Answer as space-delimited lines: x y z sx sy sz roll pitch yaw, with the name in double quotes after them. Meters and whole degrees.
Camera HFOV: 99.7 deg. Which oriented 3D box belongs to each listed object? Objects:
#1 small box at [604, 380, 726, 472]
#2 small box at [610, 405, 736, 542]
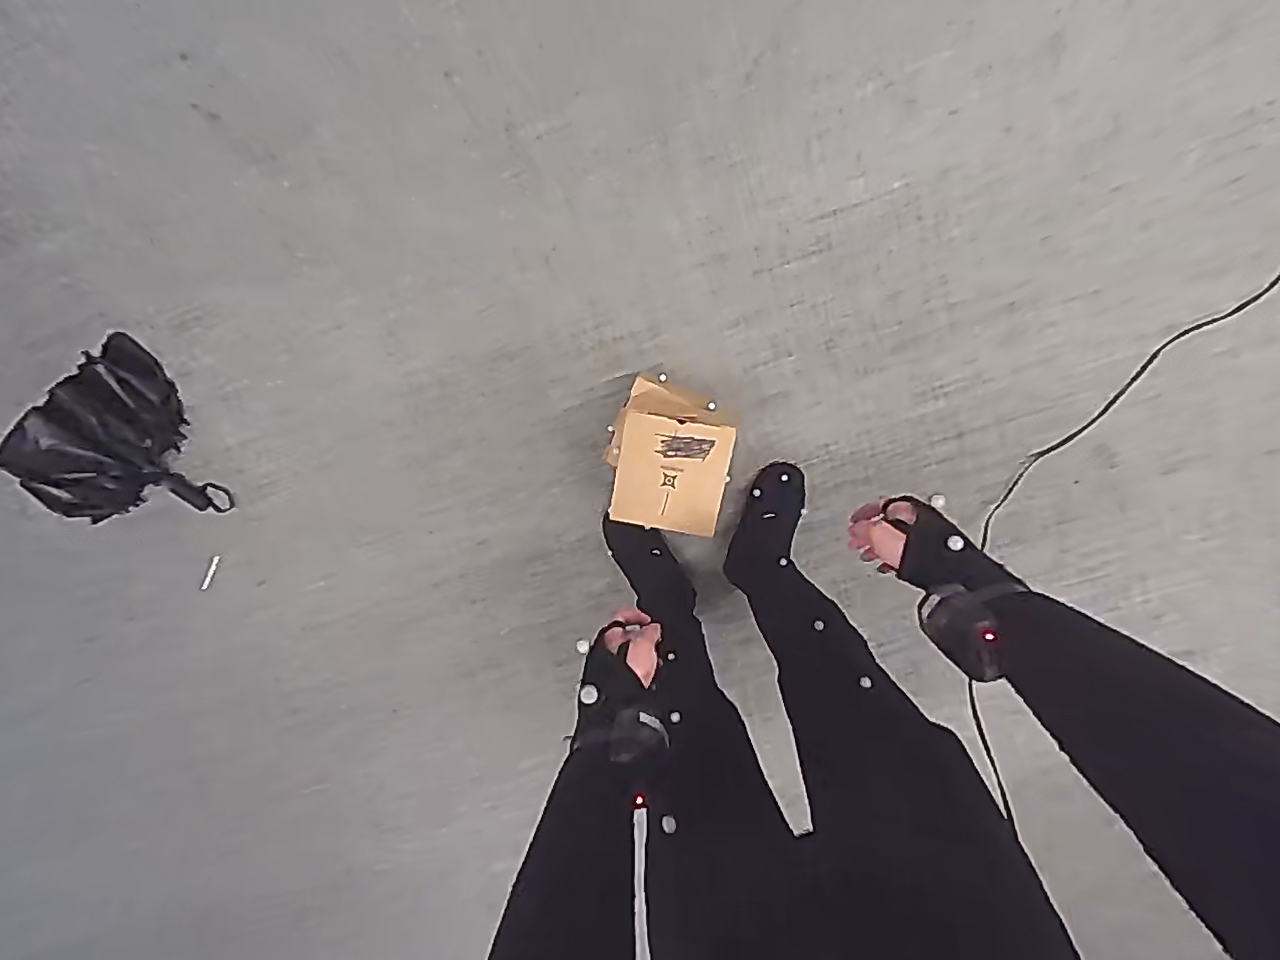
0.047 -0.086 1.046 0.179 0.176 0.168 22 106 -3 "small box"
0.052 -0.021 0.893 0.168 0.176 0.179 10 106 1 "small box"
